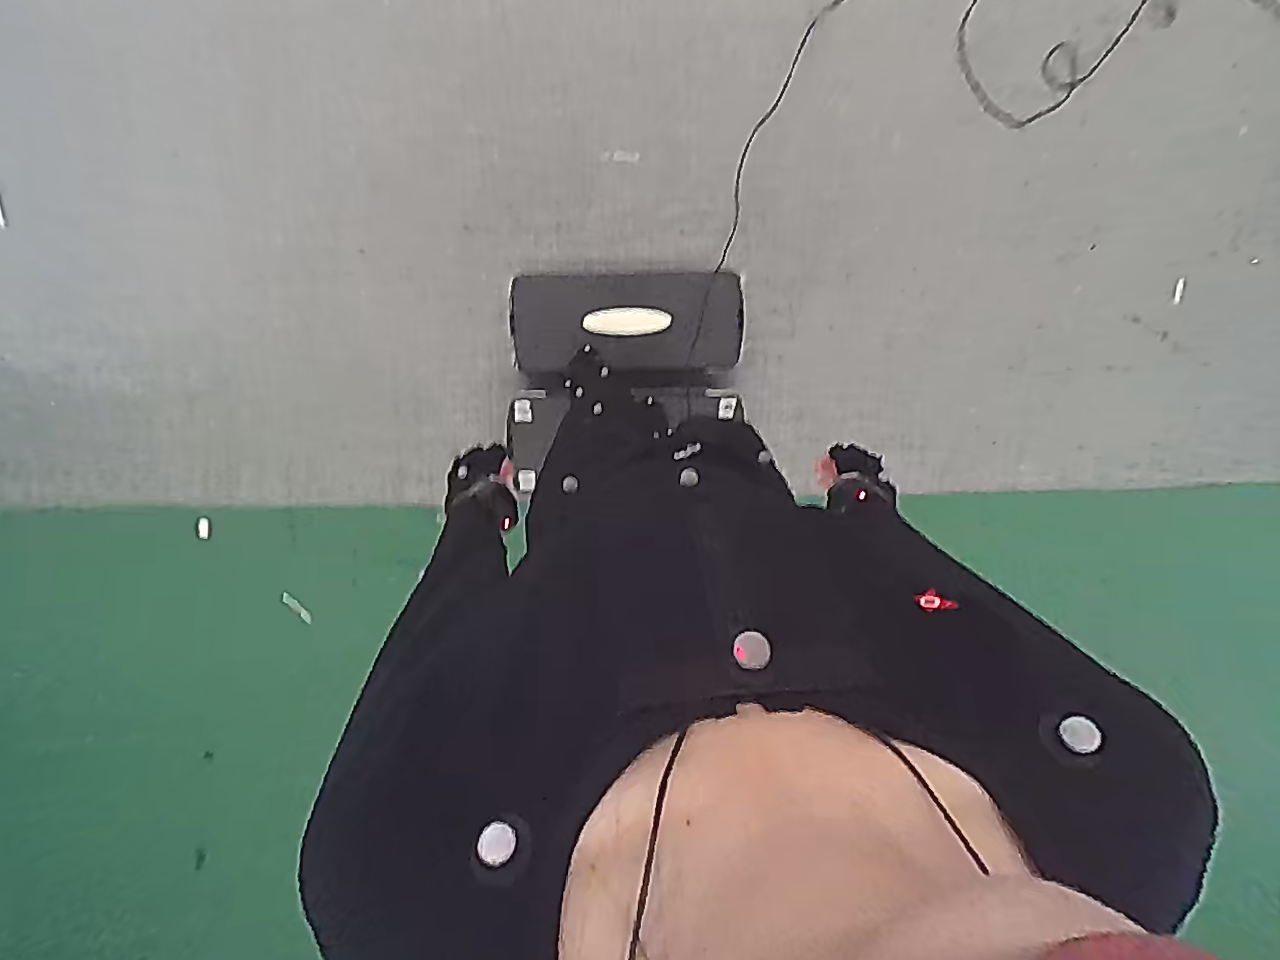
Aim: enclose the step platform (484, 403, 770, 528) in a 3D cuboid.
[{"bbox_3d":[-0.031,-0.046,1.375,0.684,0.204,0.286,-1,100,-2],"label":"step platform"}]
